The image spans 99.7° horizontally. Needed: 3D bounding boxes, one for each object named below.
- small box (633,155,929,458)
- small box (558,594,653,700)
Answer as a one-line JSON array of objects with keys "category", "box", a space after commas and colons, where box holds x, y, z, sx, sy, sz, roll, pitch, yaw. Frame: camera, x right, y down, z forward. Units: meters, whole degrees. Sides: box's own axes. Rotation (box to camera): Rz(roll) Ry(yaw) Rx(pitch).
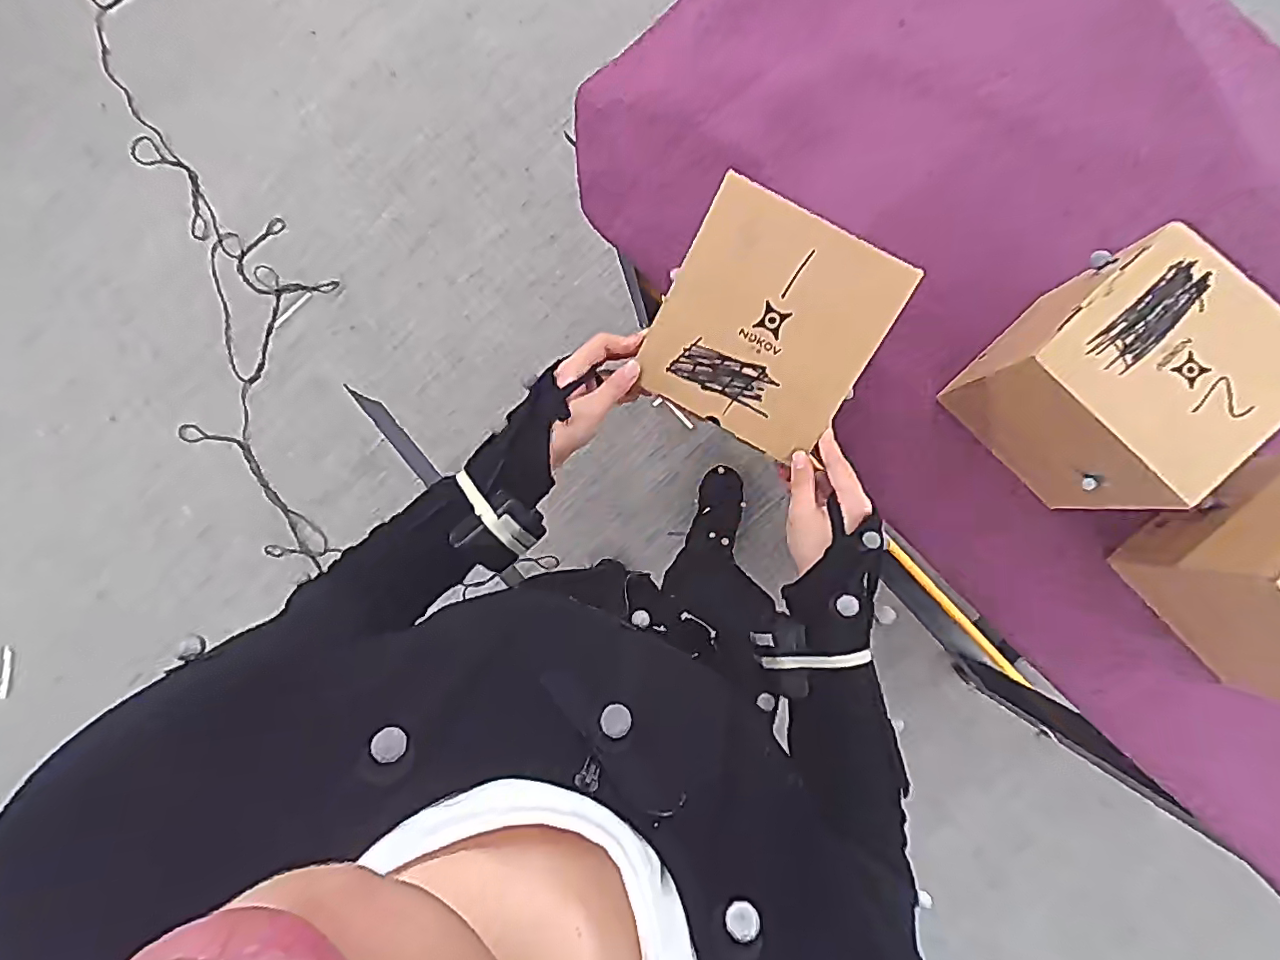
[{"category": "small box", "box": [0.115, -0.146, 0.494, 0.168, 0.176, 0.179, 29, 106, 1]}, {"category": "small box", "box": [-0.082, 0.383, 1.261, 0.179, 0.176, 0.168, 26, 84, 1]}]
